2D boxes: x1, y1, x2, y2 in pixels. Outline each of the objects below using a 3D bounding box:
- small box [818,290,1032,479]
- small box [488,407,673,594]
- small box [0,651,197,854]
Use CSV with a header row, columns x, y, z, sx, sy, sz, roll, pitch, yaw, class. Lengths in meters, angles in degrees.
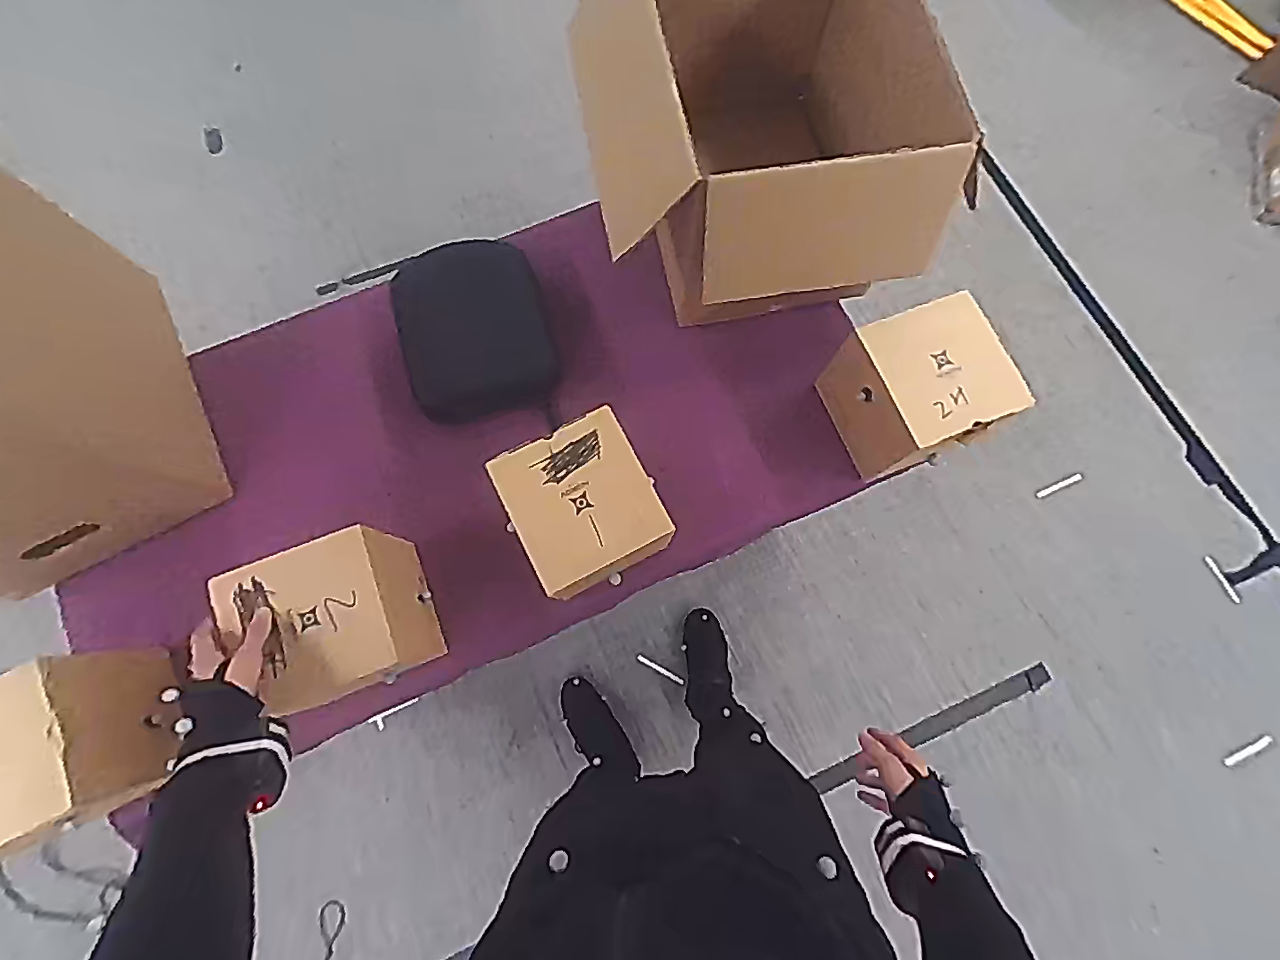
x,y,z,sx,sy,sz,roll,pitch,yaw,class
0.374,-0.122,0.749,0.168,0.176,0.179,-20,77,-5,small box
-0.073,0.037,0.707,0.168,0.176,0.179,-27,79,-7,small box
-0.683,0.316,0.631,0.179,0.176,0.168,-27,78,-8,small box
